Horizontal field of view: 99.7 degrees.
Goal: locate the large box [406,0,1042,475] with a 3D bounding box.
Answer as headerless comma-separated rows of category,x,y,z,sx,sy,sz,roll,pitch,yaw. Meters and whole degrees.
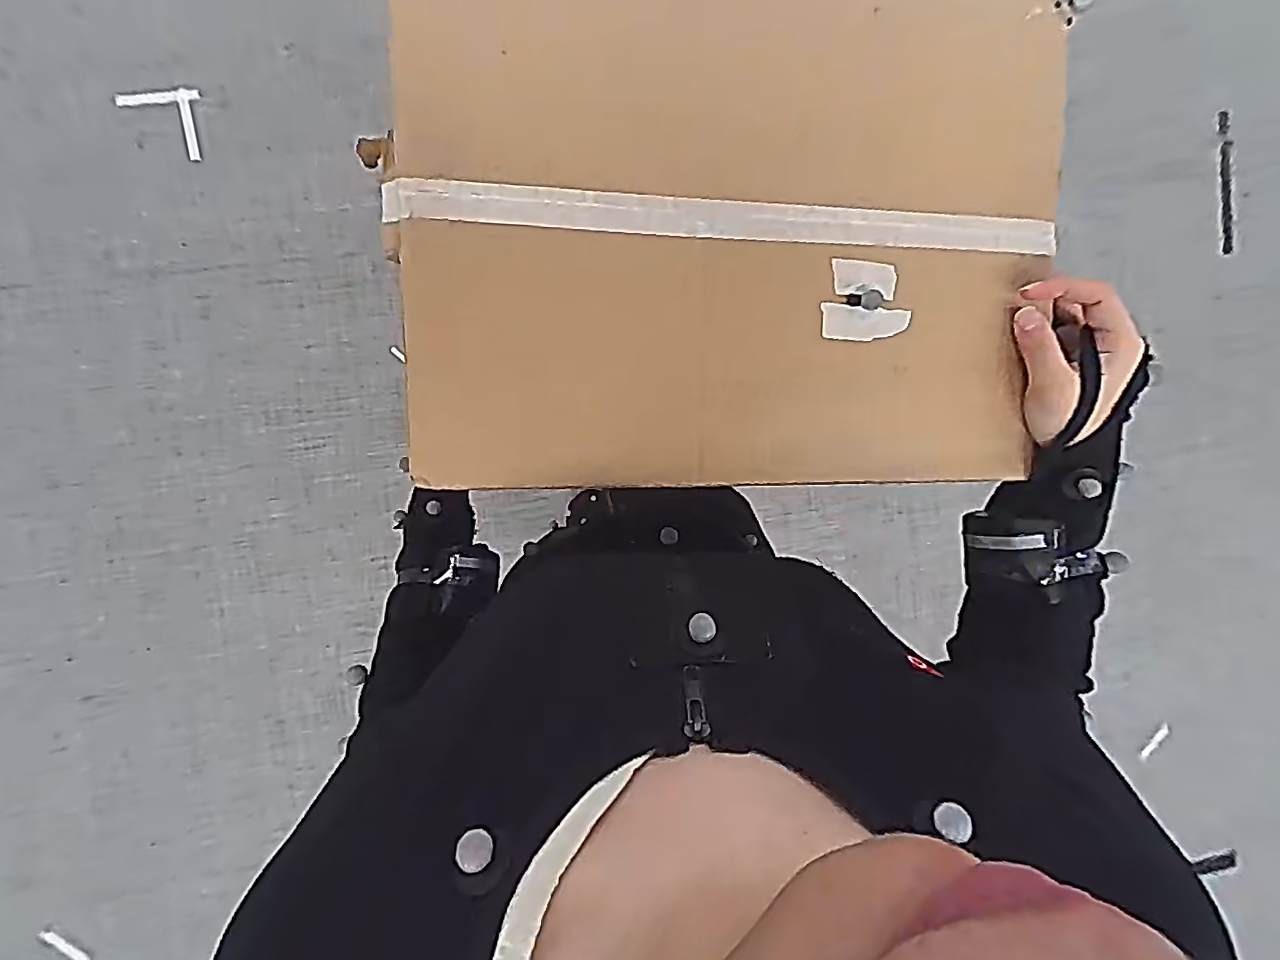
large box,0.042,-0.175,0.477,0.408,0.320,0.320,-1,96,-11
